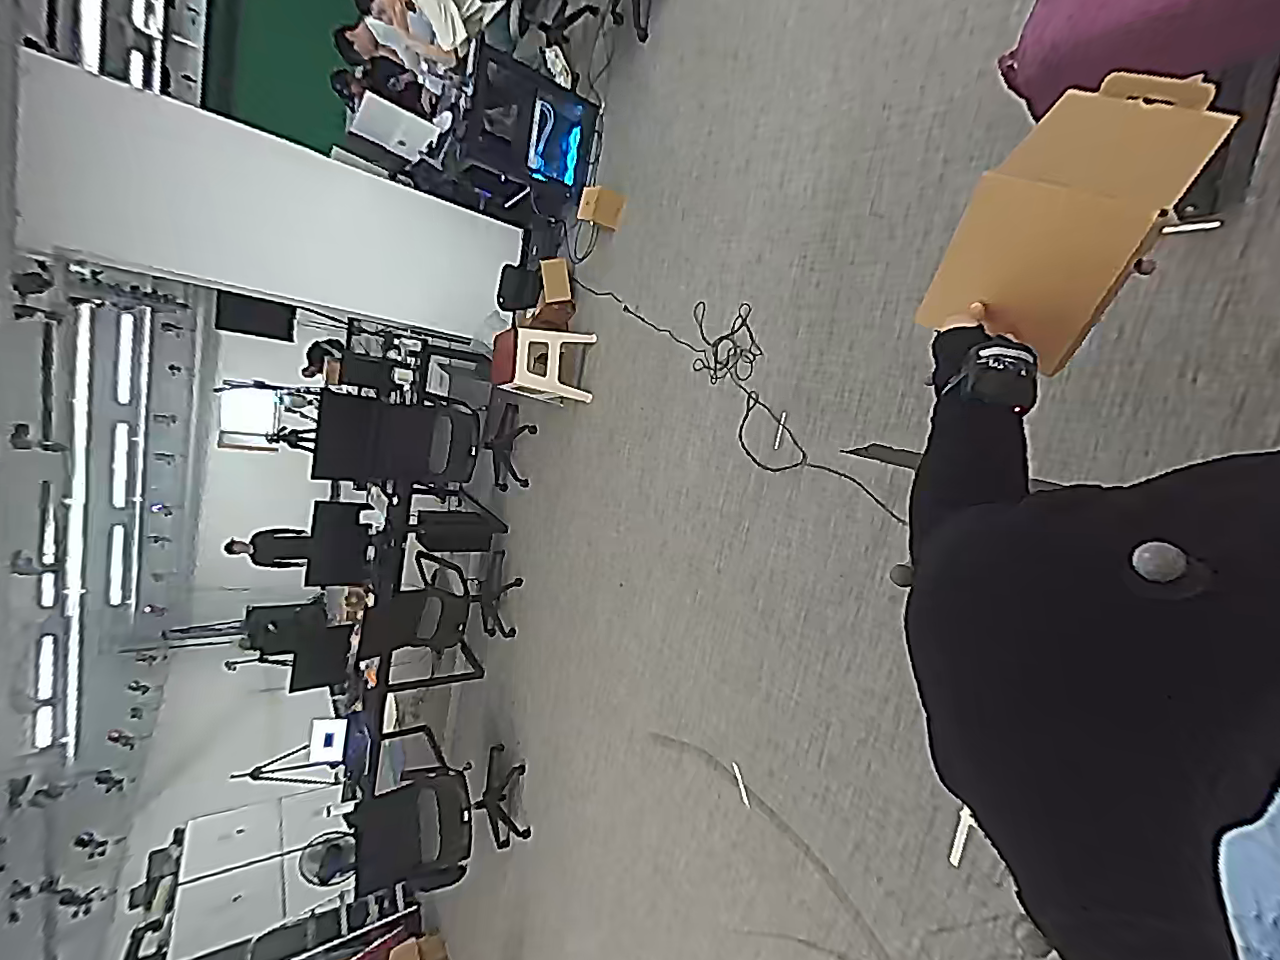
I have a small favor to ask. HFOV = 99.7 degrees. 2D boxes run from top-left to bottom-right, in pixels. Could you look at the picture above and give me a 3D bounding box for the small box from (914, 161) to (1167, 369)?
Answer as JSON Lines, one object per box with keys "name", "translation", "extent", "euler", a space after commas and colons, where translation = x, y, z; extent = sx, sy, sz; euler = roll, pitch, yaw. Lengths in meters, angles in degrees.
{"name": "small box", "translation": [0.472, -0.252, 0.650], "extent": [0.168, 0.176, 0.179], "euler": [37, 125, 29]}
